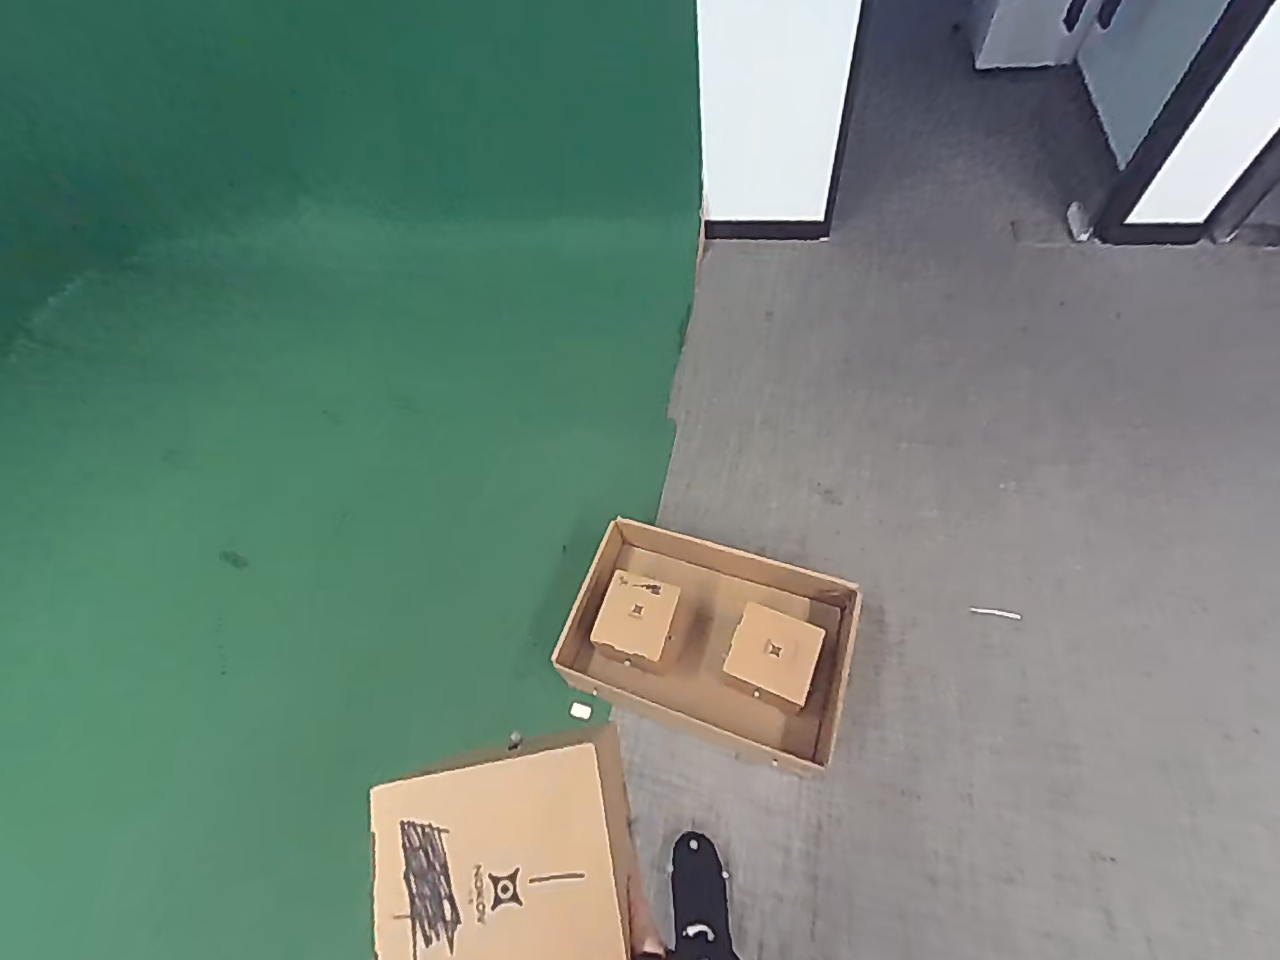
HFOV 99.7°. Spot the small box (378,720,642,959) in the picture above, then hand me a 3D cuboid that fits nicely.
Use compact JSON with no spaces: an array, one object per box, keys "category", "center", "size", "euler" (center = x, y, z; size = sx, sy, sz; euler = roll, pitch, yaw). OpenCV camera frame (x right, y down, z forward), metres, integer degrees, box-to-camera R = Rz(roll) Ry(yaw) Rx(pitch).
[{"category":"small box","center":[-0.099,0.314,0.465],"size":[0.179,0.176,0.168],"euler":[-10,71,-2]}]
